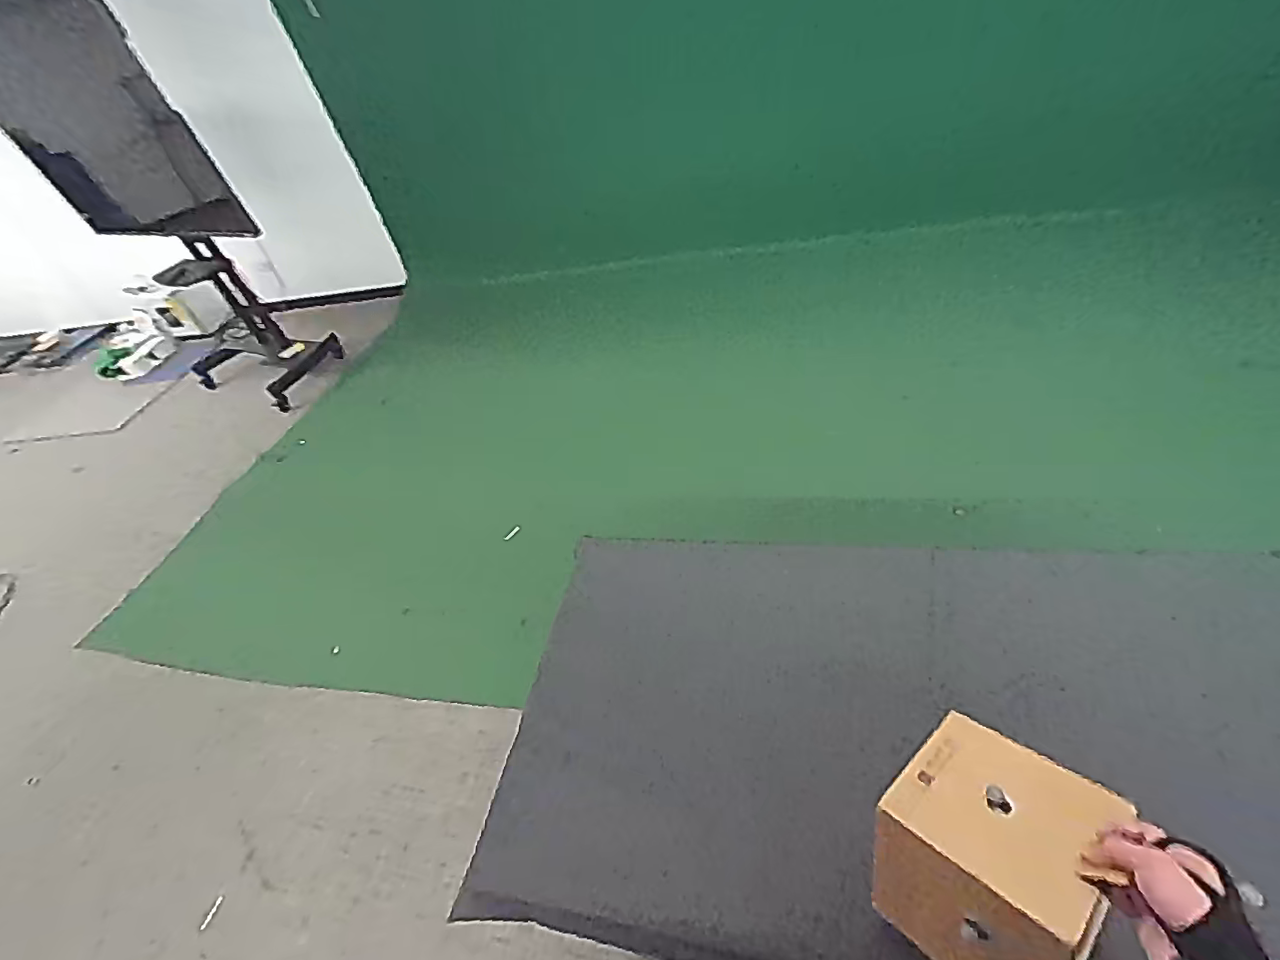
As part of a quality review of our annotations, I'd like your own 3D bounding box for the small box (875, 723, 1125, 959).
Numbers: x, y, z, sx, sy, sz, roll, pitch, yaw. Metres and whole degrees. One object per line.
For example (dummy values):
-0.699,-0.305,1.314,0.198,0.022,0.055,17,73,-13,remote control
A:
0.359,0.386,0.558,0.168,0.179,0.176,-30,30,-32,small box
